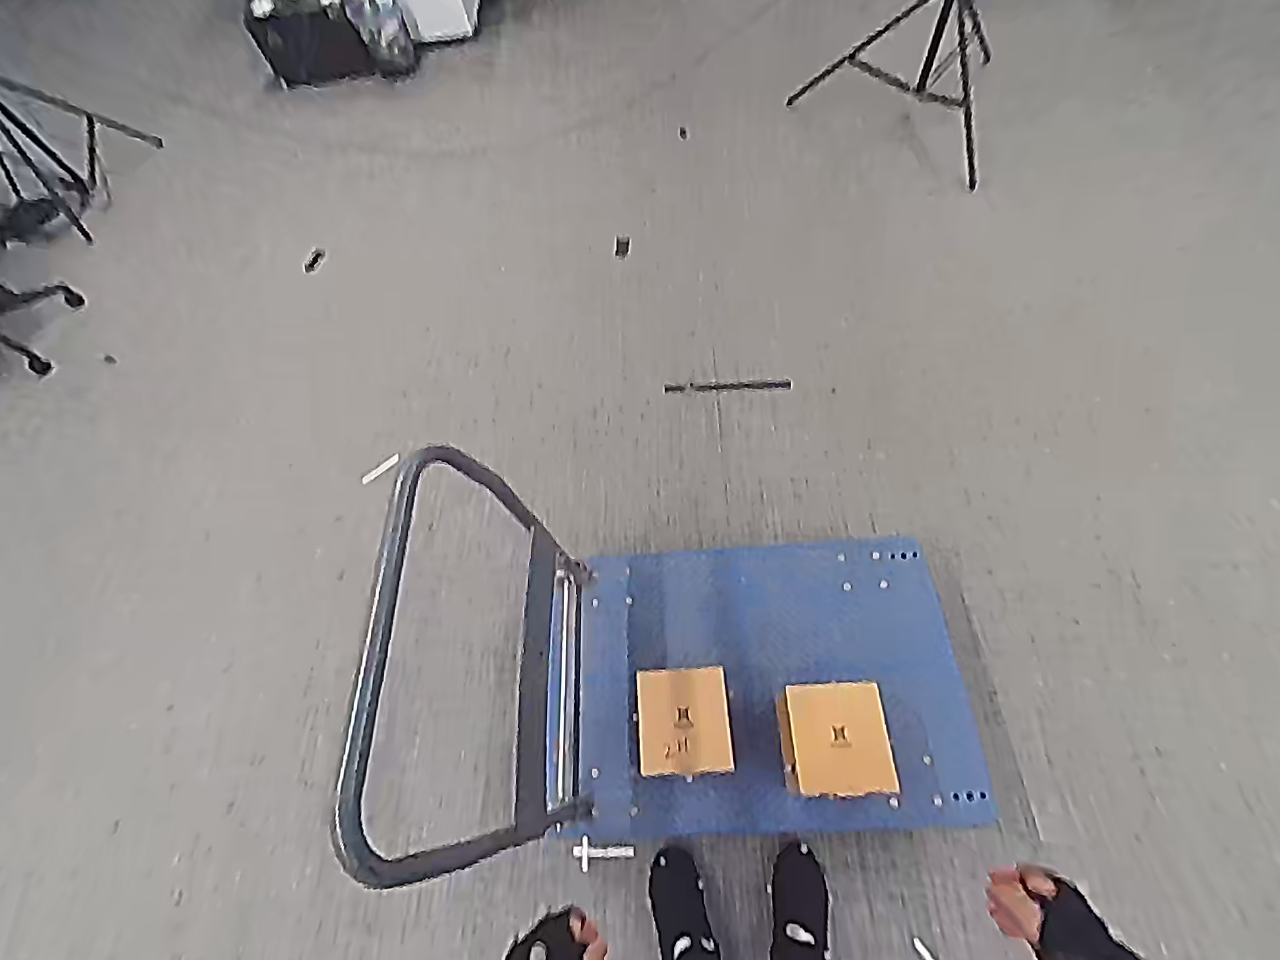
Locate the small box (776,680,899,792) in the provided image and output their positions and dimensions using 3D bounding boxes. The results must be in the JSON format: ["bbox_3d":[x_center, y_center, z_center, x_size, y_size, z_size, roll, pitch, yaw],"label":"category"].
[{"bbox_3d":[0.357,0.481,1.015,0.168,0.176,0.179,-5,63,5],"label":"small box"}]

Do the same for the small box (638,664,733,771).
[{"bbox_3d":[0.086,0.467,1.054,0.168,0.176,0.179,-5,63,5],"label":"small box"}]
